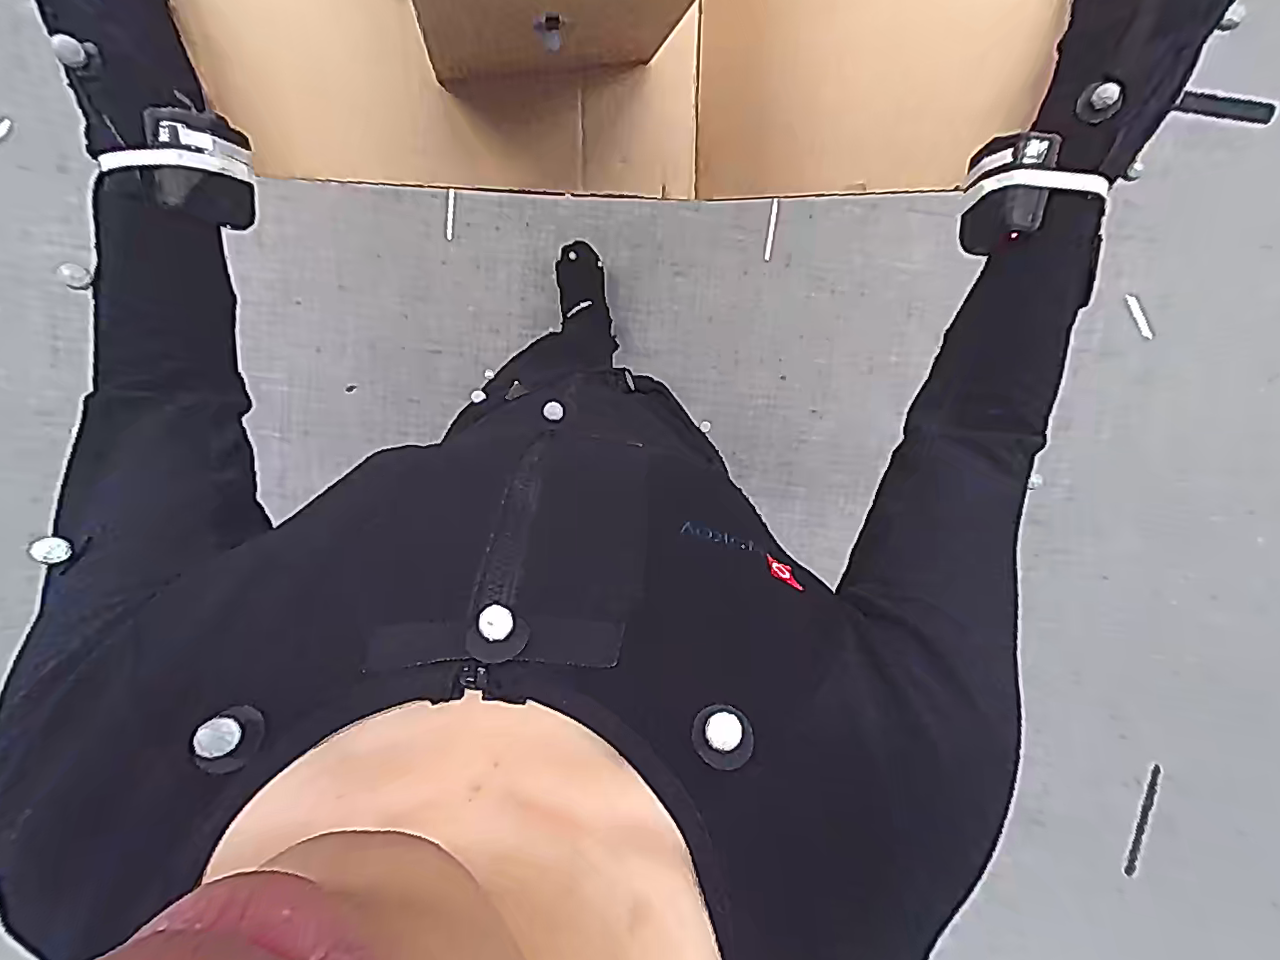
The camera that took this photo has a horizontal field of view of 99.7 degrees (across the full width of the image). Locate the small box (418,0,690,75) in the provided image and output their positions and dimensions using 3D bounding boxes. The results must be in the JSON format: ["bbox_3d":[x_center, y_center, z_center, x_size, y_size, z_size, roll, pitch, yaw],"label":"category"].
[{"bbox_3d":[-0.063,-0.376,0.331,0.179,0.176,0.168,-13,113,-9],"label":"small box"}]
